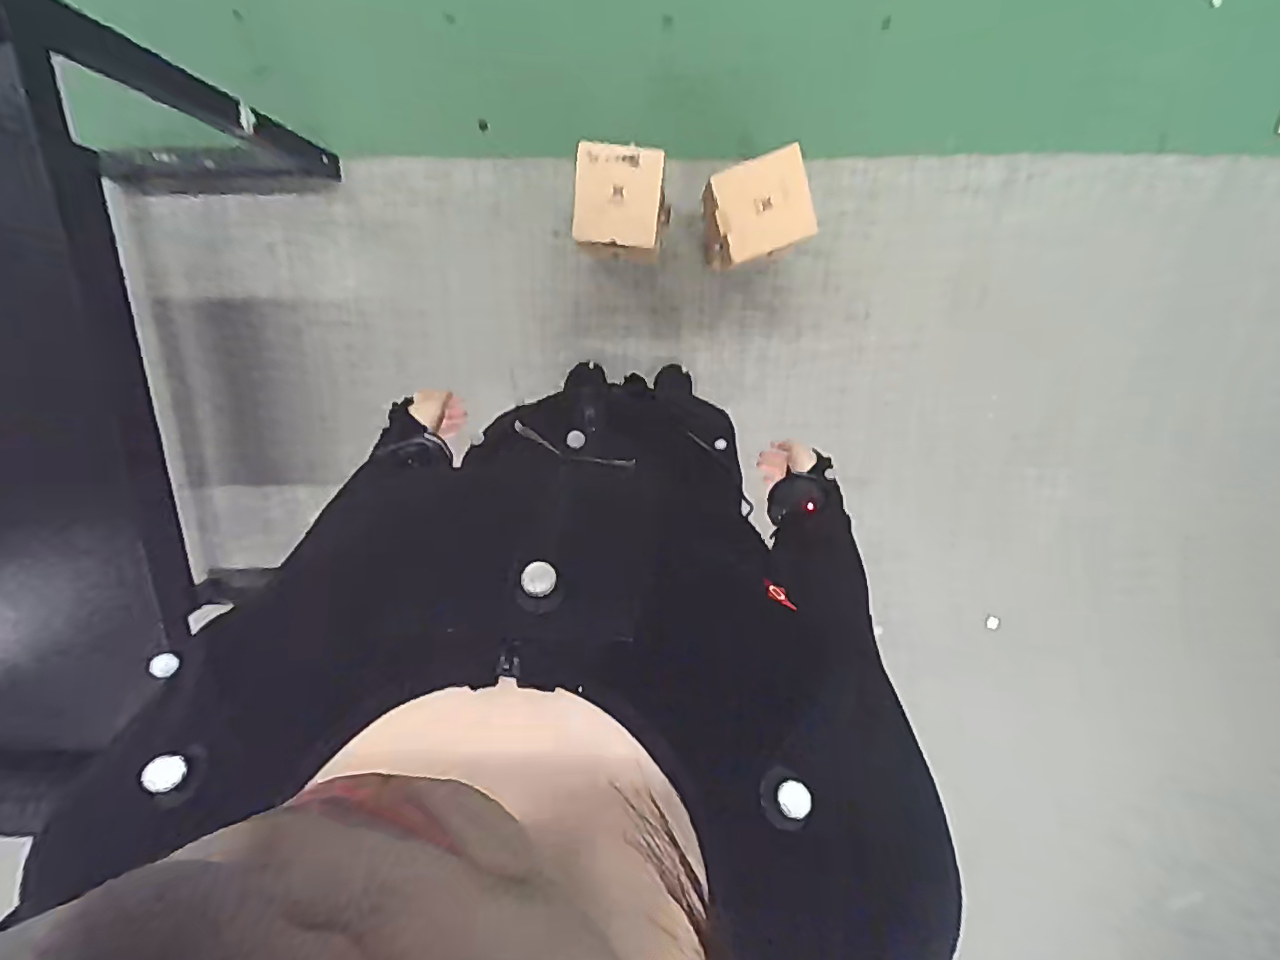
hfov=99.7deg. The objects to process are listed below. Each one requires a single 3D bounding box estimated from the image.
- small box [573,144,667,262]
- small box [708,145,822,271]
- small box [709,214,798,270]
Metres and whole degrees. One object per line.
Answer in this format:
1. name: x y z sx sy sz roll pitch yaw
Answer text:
1. small box: -0.036 -0.551 1.098 0.168 0.176 0.179 7 105 0
2. small box: 0.242 -0.537 1.096 0.179 0.176 0.168 -19 106 6
3. small box: 0.254 -0.590 1.250 0.179 0.176 0.168 -7 105 3
